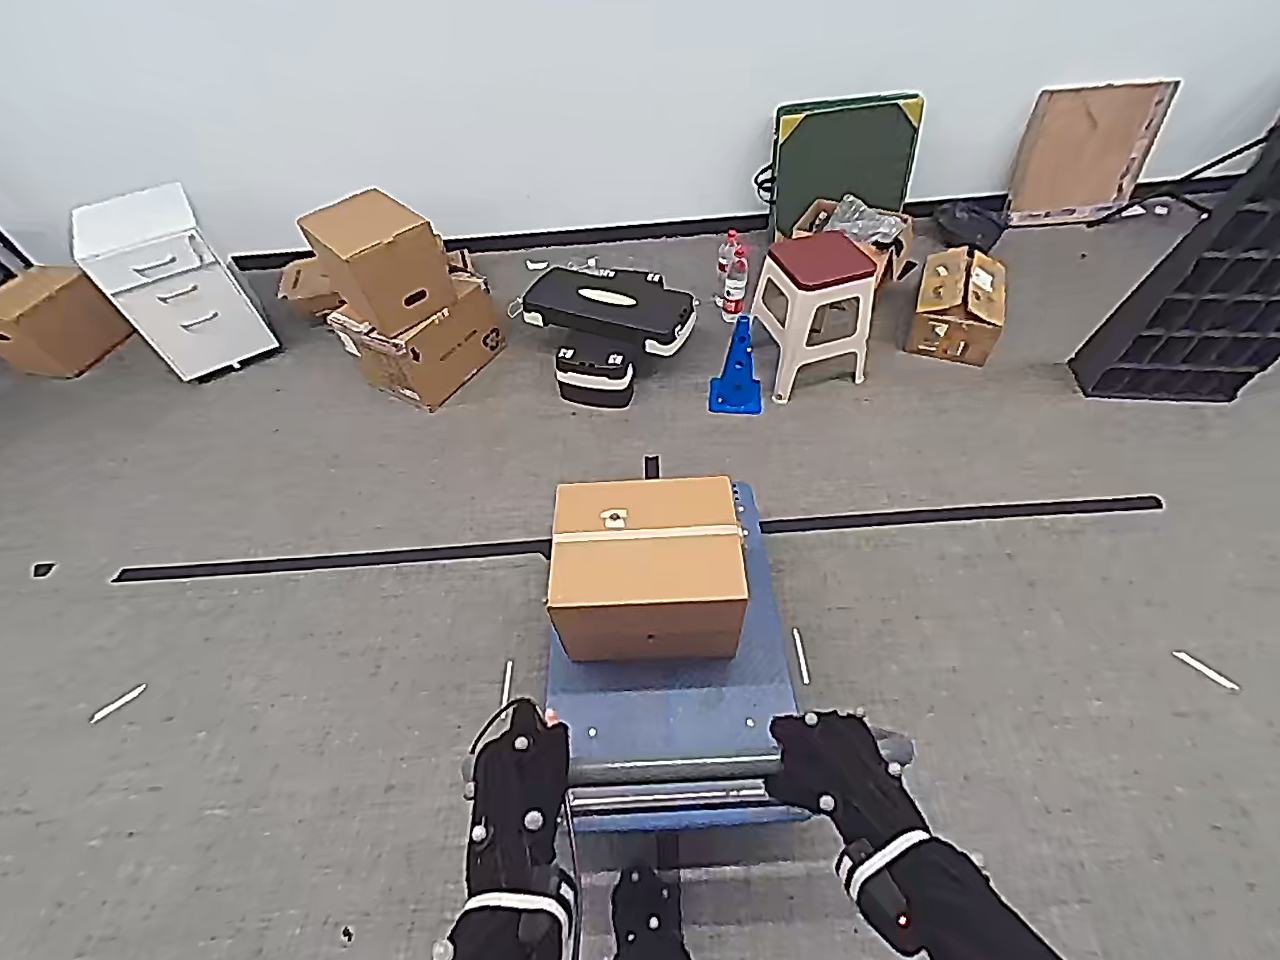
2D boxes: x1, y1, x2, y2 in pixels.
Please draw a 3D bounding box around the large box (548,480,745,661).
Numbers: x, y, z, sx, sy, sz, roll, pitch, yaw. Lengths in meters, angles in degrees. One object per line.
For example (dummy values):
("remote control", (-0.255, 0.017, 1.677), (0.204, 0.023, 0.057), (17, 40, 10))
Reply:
("large box", (0.018, 0.223, 1.284), (0.408, 0.320, 0.320), (-3, 51, 2))
